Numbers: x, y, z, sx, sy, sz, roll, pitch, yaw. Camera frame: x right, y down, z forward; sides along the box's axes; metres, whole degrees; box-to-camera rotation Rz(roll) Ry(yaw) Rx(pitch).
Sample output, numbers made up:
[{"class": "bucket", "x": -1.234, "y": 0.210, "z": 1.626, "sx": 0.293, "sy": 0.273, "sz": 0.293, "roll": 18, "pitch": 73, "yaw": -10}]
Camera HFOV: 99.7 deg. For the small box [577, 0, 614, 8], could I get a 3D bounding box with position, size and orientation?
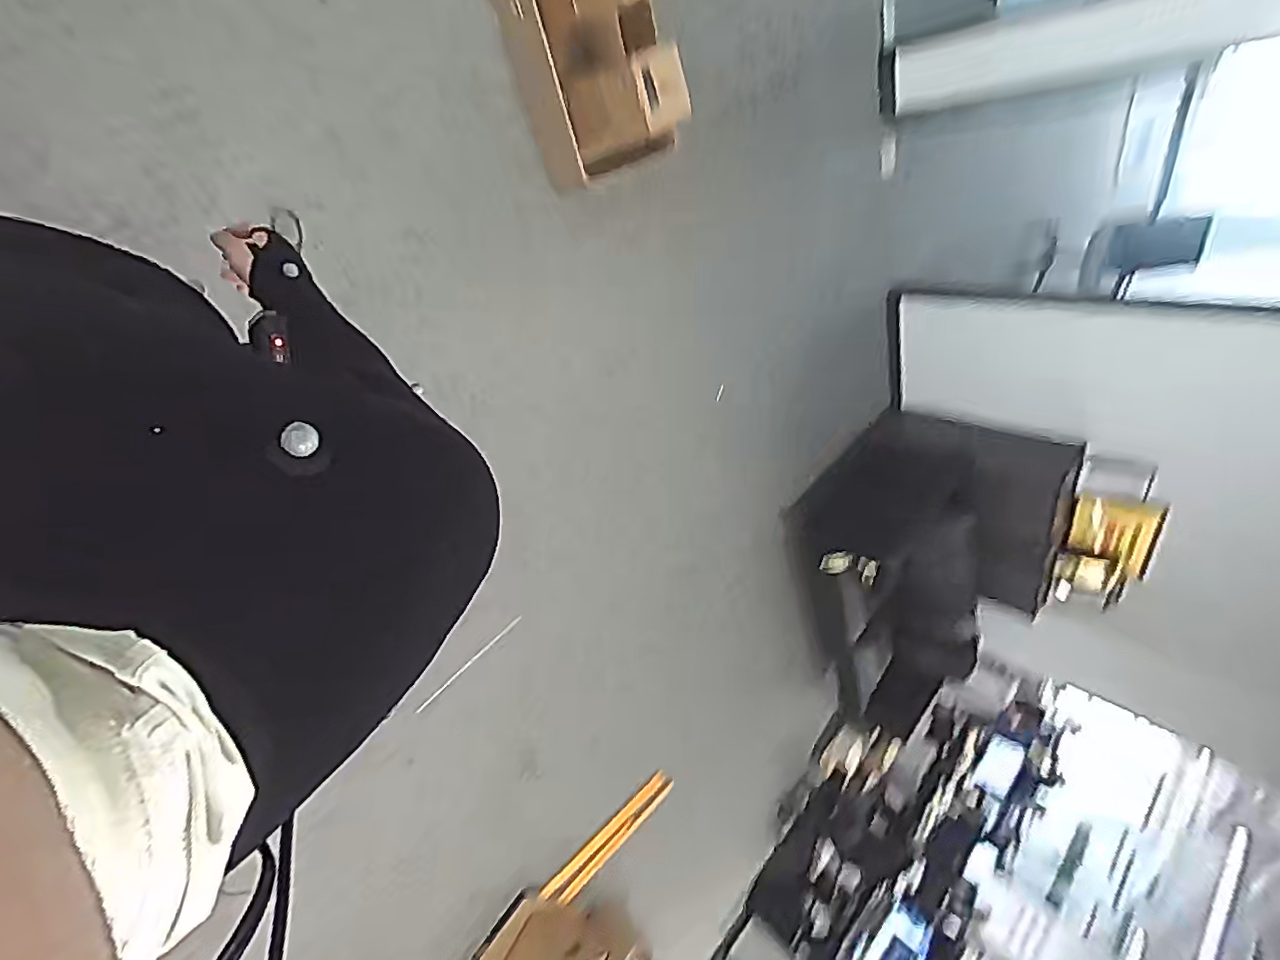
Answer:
[{"class": "small box", "x": -0.063, "y": -1.282, "z": 1.304, "sx": 0.179, "sy": 0.176, "sz": 0.168, "roll": -41, "pitch": 130, "yaw": -25}]
